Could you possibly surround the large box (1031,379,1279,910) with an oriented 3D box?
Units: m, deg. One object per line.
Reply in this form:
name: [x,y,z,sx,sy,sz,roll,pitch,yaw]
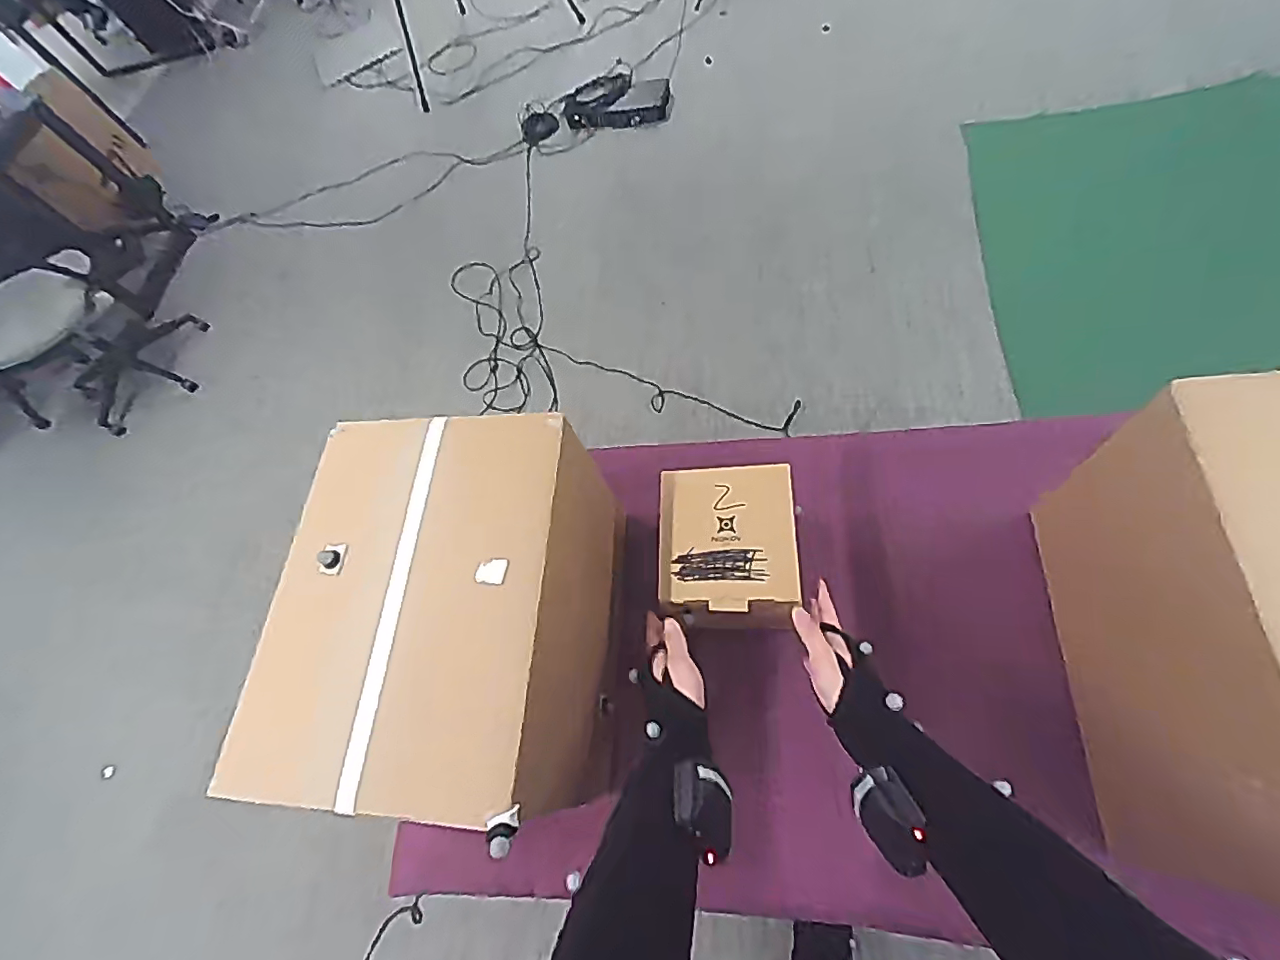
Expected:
large box: [0.635,0.154,0.495,0.320,0.320,0.408,-2,65,14]
